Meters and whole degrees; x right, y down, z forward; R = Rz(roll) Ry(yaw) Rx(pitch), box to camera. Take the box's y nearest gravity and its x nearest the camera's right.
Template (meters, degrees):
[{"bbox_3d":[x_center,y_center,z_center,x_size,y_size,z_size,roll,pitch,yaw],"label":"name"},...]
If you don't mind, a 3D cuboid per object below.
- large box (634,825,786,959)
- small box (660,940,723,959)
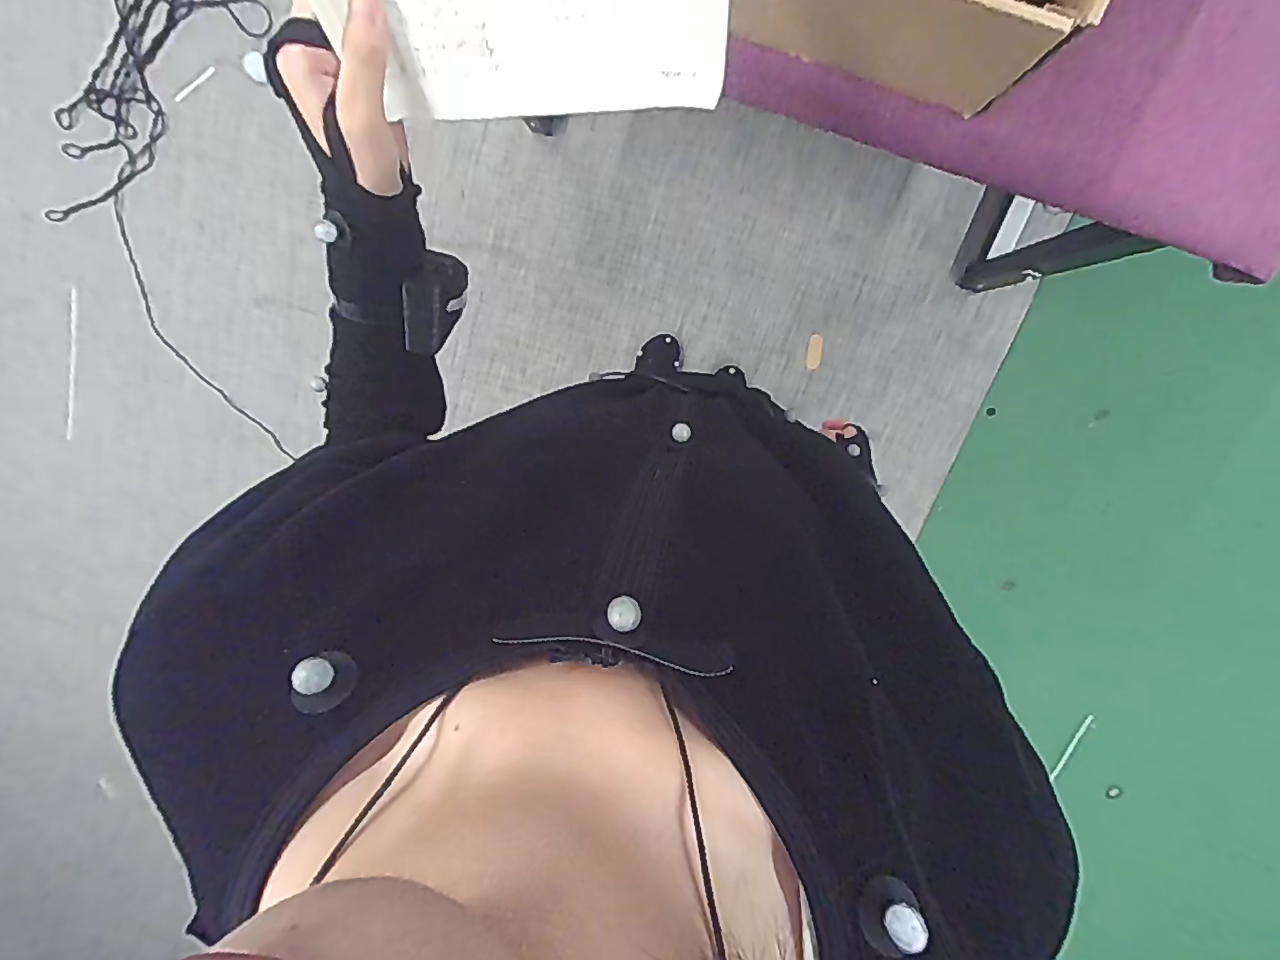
[{"bbox_3d":[0.193,1.303,1.620,0.408,0.320,0.320,5,103,4],"label":"large box"},{"bbox_3d":[0.126,1.336,1.383,0.168,0.176,0.179,6,102,5],"label":"small box"}]
